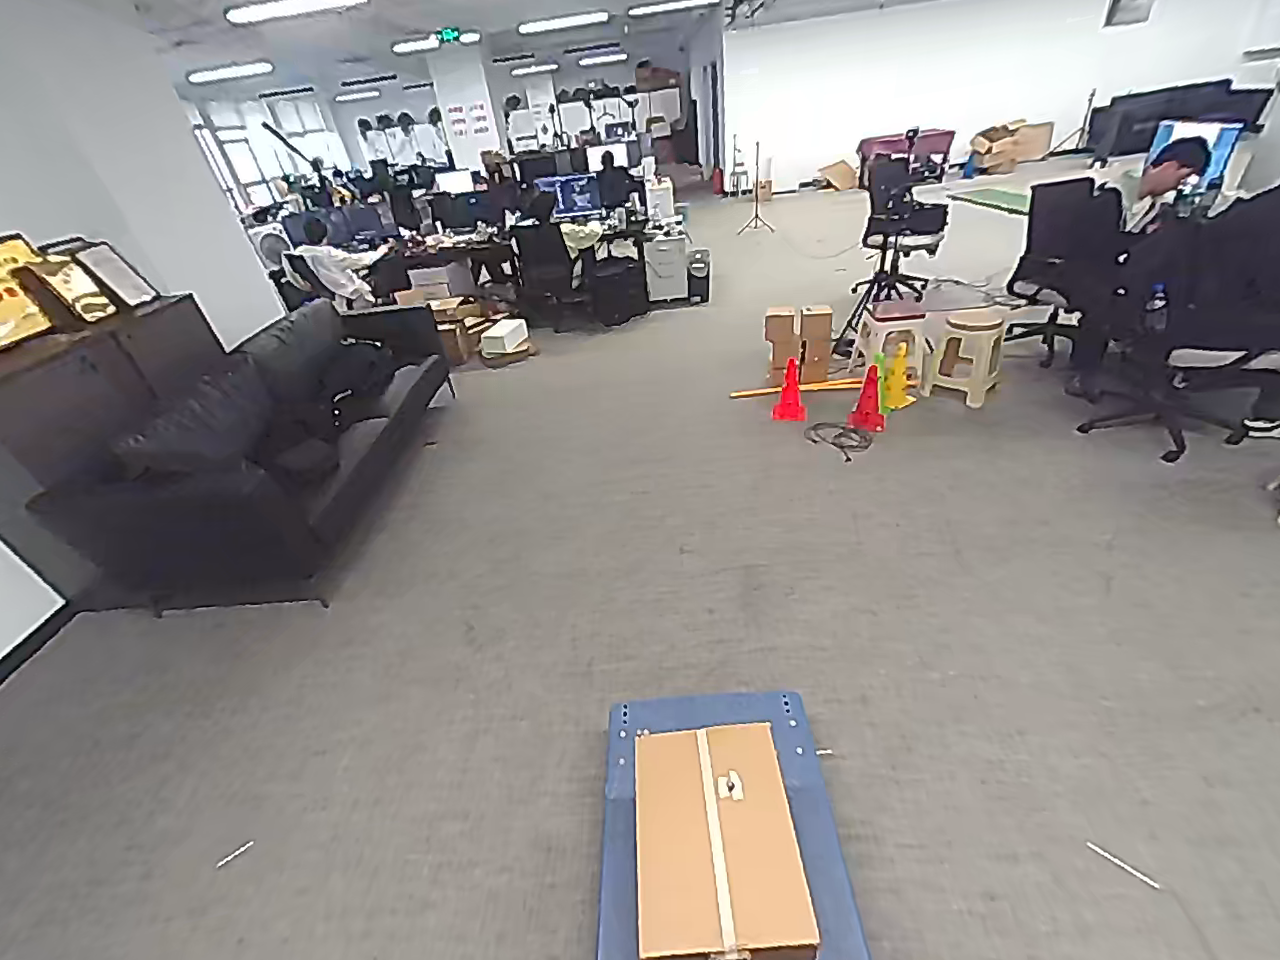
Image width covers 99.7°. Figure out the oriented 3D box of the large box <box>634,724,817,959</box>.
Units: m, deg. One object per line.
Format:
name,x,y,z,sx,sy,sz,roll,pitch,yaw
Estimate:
large box,0.168,0.819,1.178,0.320,0.320,0.408,-7,34,2
